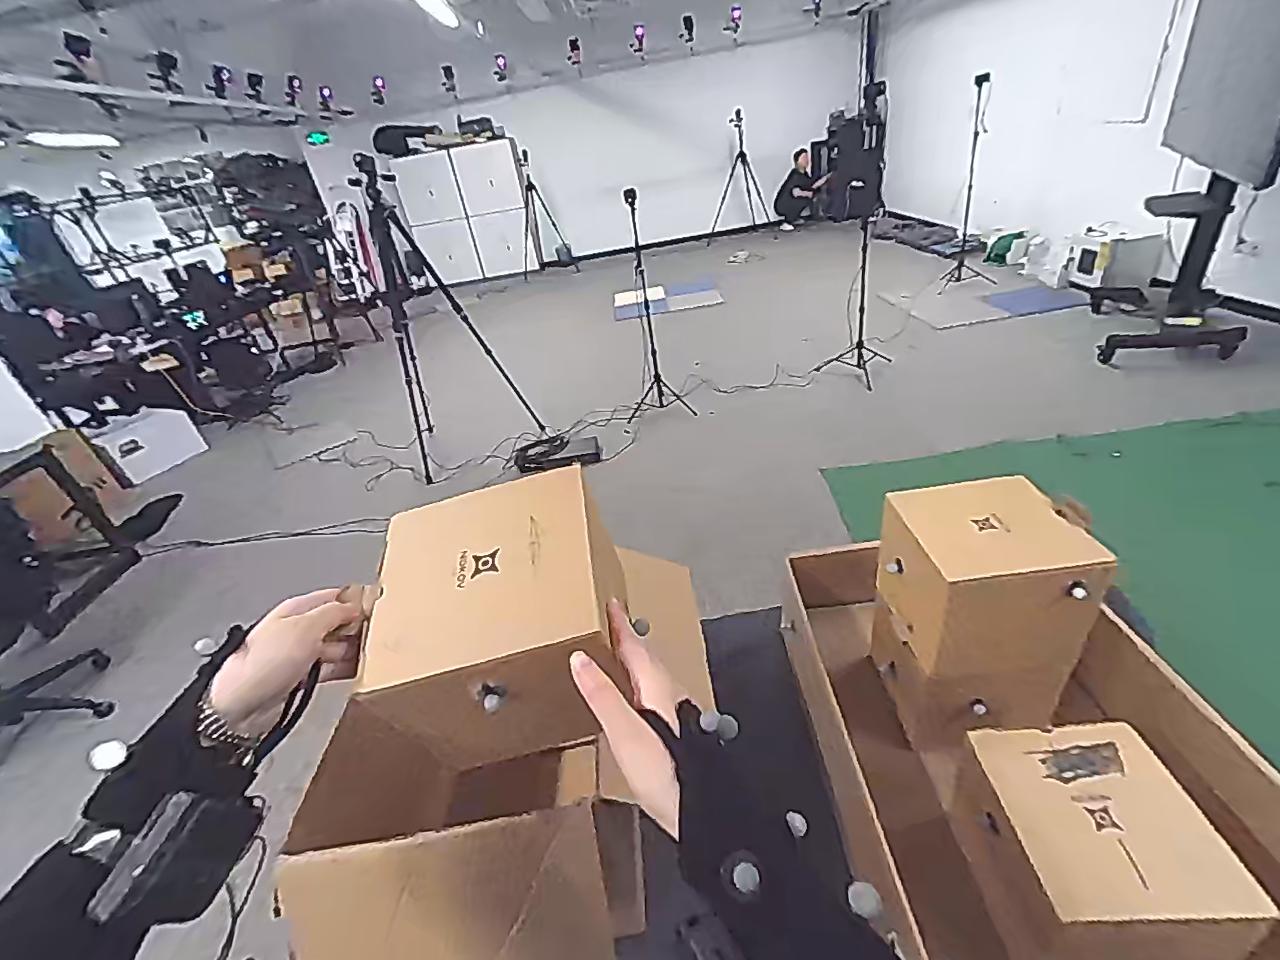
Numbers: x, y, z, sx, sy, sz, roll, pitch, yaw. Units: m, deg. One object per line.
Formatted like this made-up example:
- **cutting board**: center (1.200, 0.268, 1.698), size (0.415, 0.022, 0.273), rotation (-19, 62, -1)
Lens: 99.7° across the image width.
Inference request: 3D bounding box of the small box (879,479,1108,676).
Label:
- **small box**: center (0.413, 0.122, 0.673), size (0.179, 0.176, 0.168), rotation (-8, 33, 3)

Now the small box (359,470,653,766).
- **small box**: center (-0.099, 0.123, 0.467), size (0.179, 0.176, 0.168), rotation (-15, 45, 1)
